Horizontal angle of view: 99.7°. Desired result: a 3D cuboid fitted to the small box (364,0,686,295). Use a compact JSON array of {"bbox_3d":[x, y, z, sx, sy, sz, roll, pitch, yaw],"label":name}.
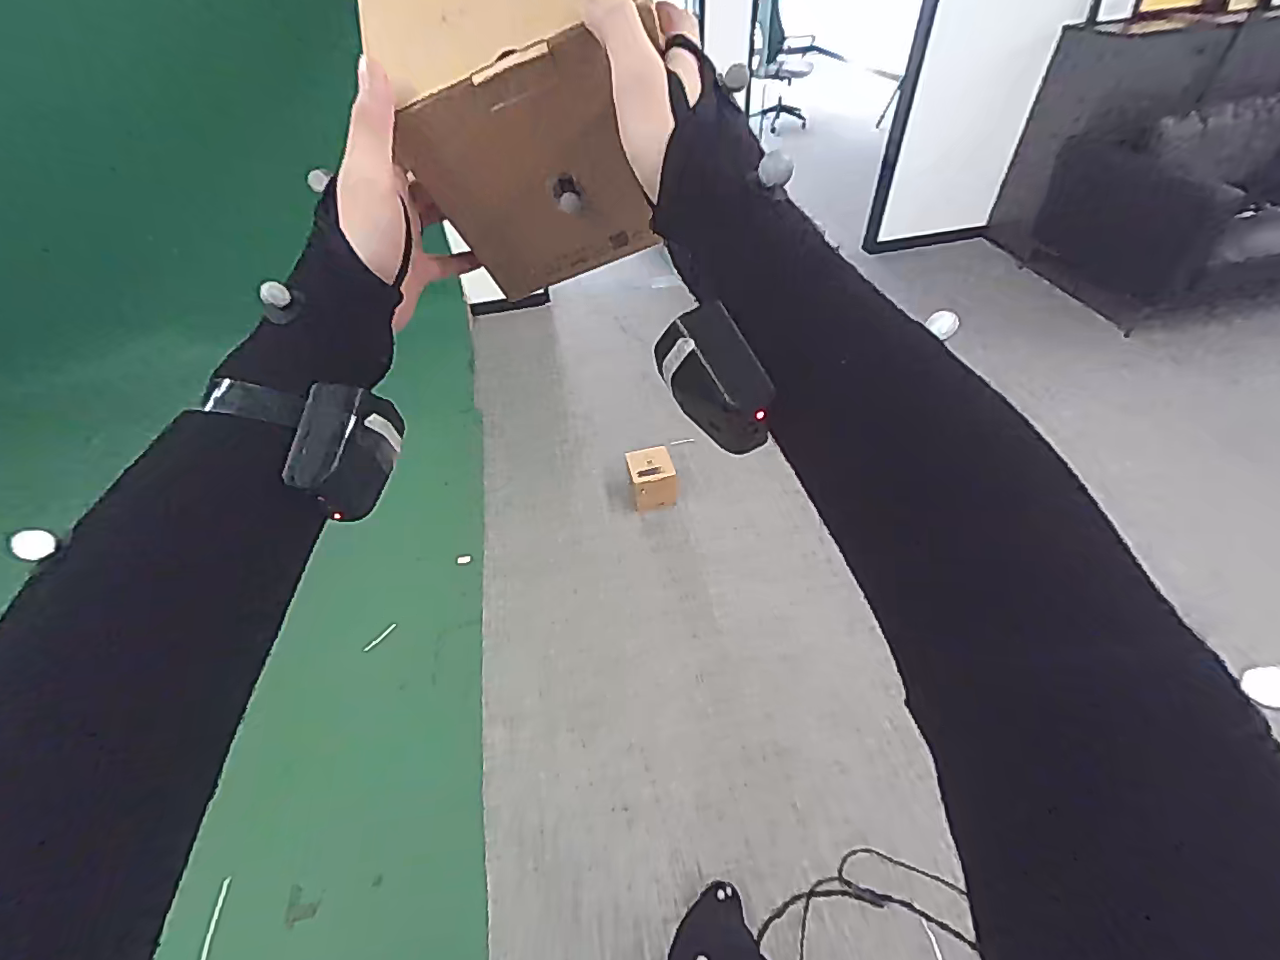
[{"bbox_3d":[-0.073,-0.265,0.402,0.168,0.176,0.179,-18,69,8],"label":"small box"}]
